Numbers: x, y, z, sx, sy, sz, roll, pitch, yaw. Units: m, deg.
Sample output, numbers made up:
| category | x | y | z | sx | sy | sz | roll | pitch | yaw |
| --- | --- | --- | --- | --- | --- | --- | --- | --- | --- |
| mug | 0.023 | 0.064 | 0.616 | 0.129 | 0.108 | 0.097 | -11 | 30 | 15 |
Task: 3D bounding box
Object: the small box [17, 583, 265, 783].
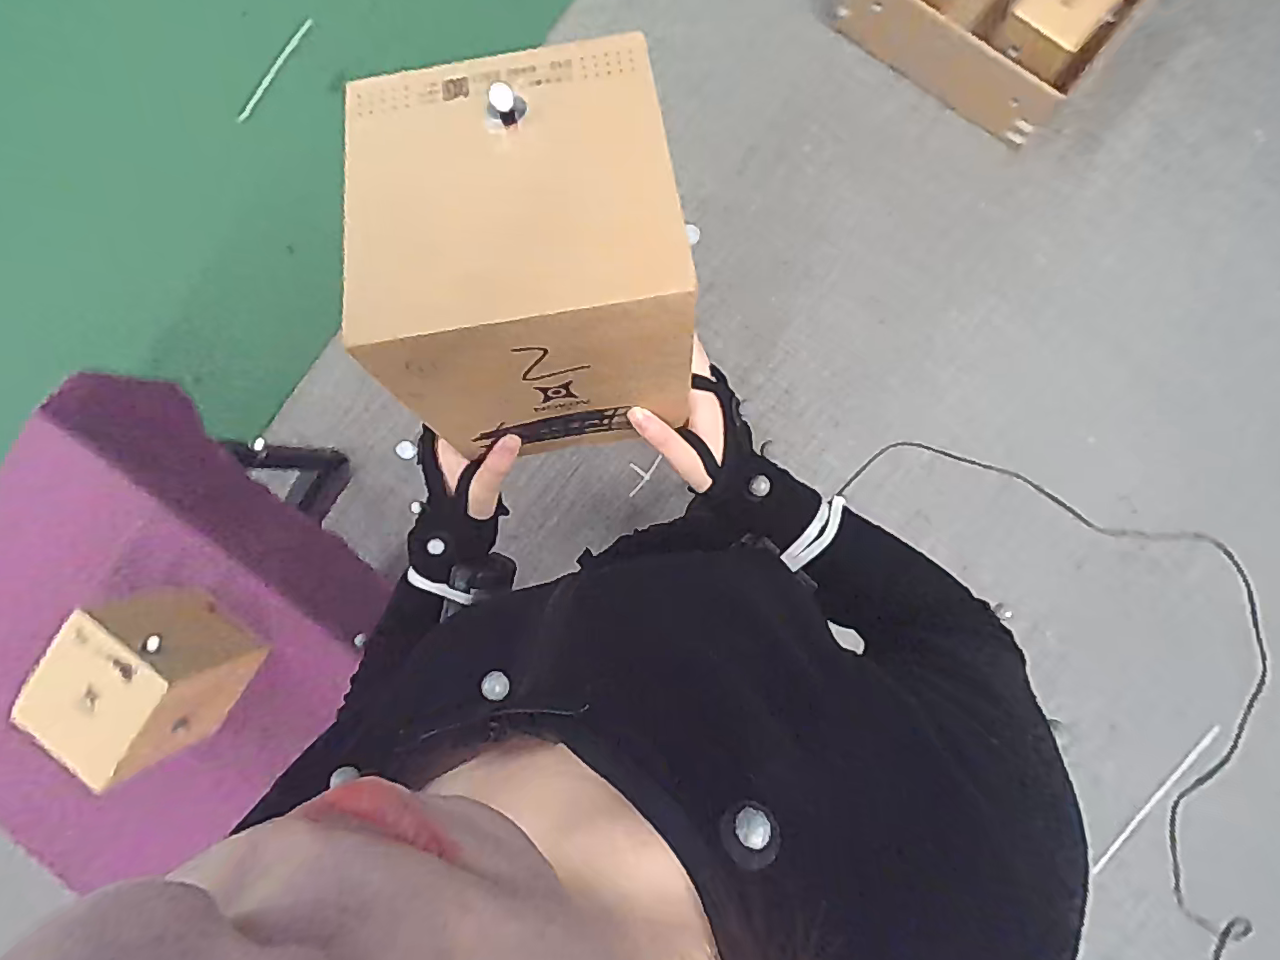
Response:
| category | x | y | z | sx | sy | sz | roll | pitch | yaw |
| --- | --- | --- | --- | --- | --- | --- | --- | --- | --- |
| small box | -0.694 | 0.275 | 0.774 | 0.168 | 0.176 | 0.179 | 35 | 95 | 4 |
